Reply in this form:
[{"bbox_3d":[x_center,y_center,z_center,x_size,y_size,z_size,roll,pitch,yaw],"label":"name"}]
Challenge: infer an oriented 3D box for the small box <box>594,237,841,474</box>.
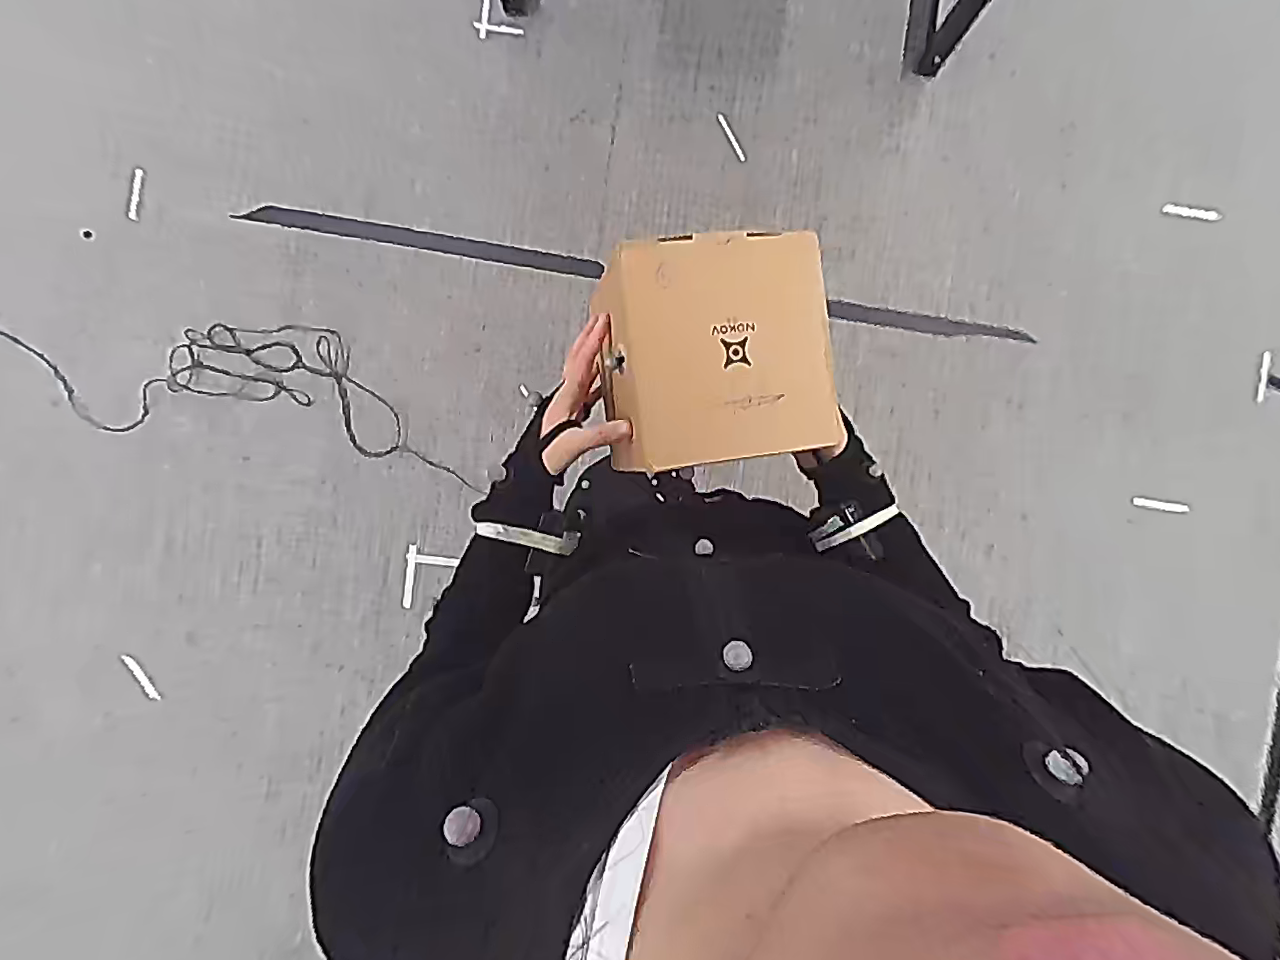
[{"bbox_3d":[0.057,-0.101,0.499,0.168,0.176,0.179,-8,93,-12],"label":"small box"}]
